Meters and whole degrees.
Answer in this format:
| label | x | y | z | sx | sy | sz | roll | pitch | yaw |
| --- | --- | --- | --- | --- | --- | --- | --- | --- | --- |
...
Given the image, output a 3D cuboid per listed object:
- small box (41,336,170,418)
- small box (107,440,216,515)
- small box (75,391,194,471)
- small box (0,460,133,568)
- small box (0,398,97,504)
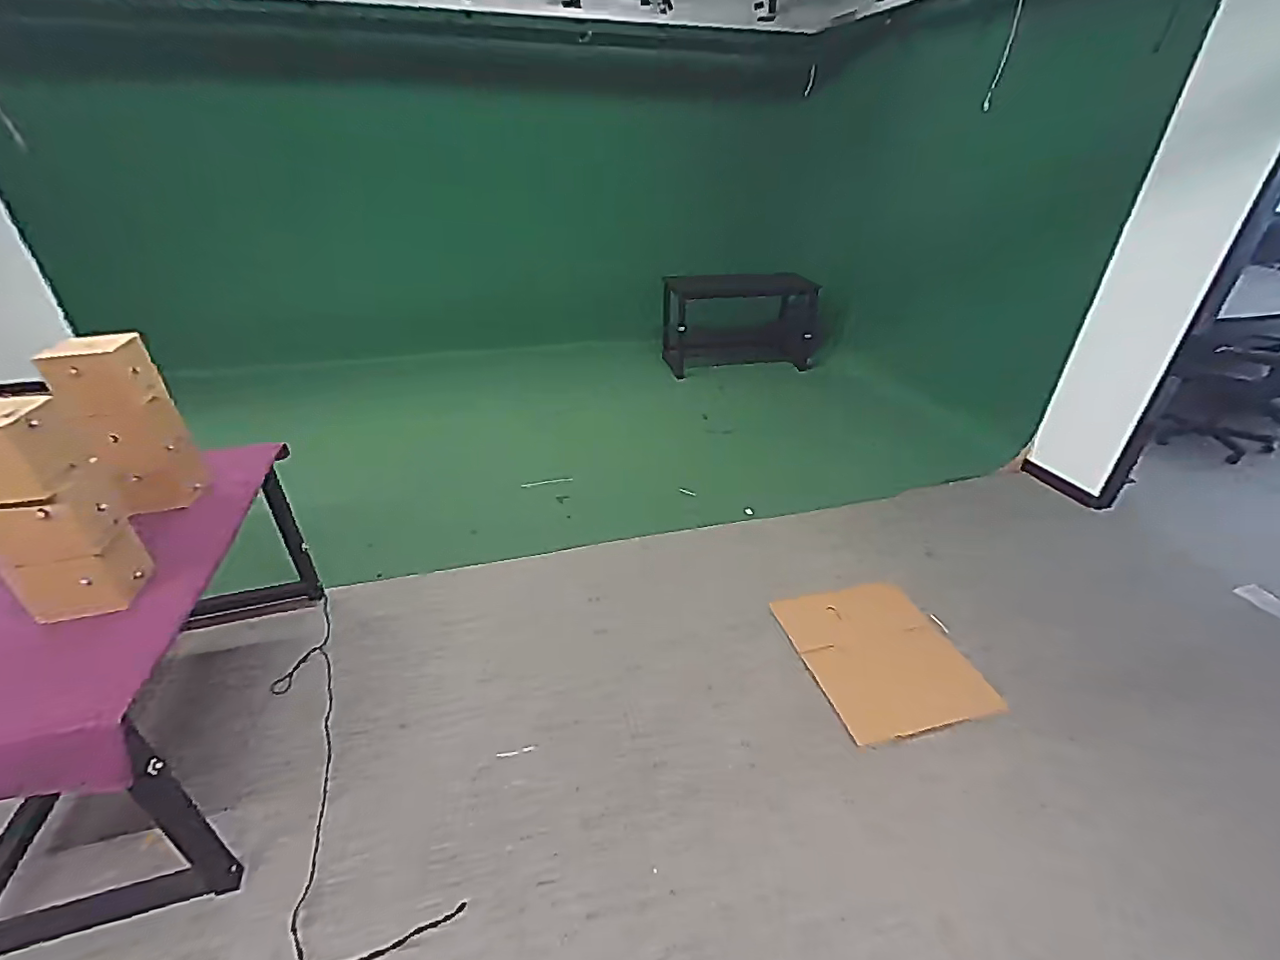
| label | x | y | z | sx | sy | sz | roll | pitch | yaw |
| --- | --- | --- | --- | --- | --- | --- | --- | --- | --- |
| small box | -1.482 | -0.288 | 1.518 | 0.179 | 0.176 | 0.168 | -11 | 35 | -13 |
| small box | -1.478 | -0.007 | 1.682 | 0.179 | 0.176 | 0.168 | -8 | 34 | -12 |
| small box | -1.476 | -0.146 | 1.595 | 0.179 | 0.176 | 0.168 | -10 | 34 | -12 |
| small box | -1.319 | 0.076 | 1.228 | 0.179 | 0.176 | 0.168 | -10 | 32 | -16 |
| small box | -1.317 | -0.056 | 1.129 | 0.179 | 0.176 | 0.168 | -8 | 32 | -13 |
